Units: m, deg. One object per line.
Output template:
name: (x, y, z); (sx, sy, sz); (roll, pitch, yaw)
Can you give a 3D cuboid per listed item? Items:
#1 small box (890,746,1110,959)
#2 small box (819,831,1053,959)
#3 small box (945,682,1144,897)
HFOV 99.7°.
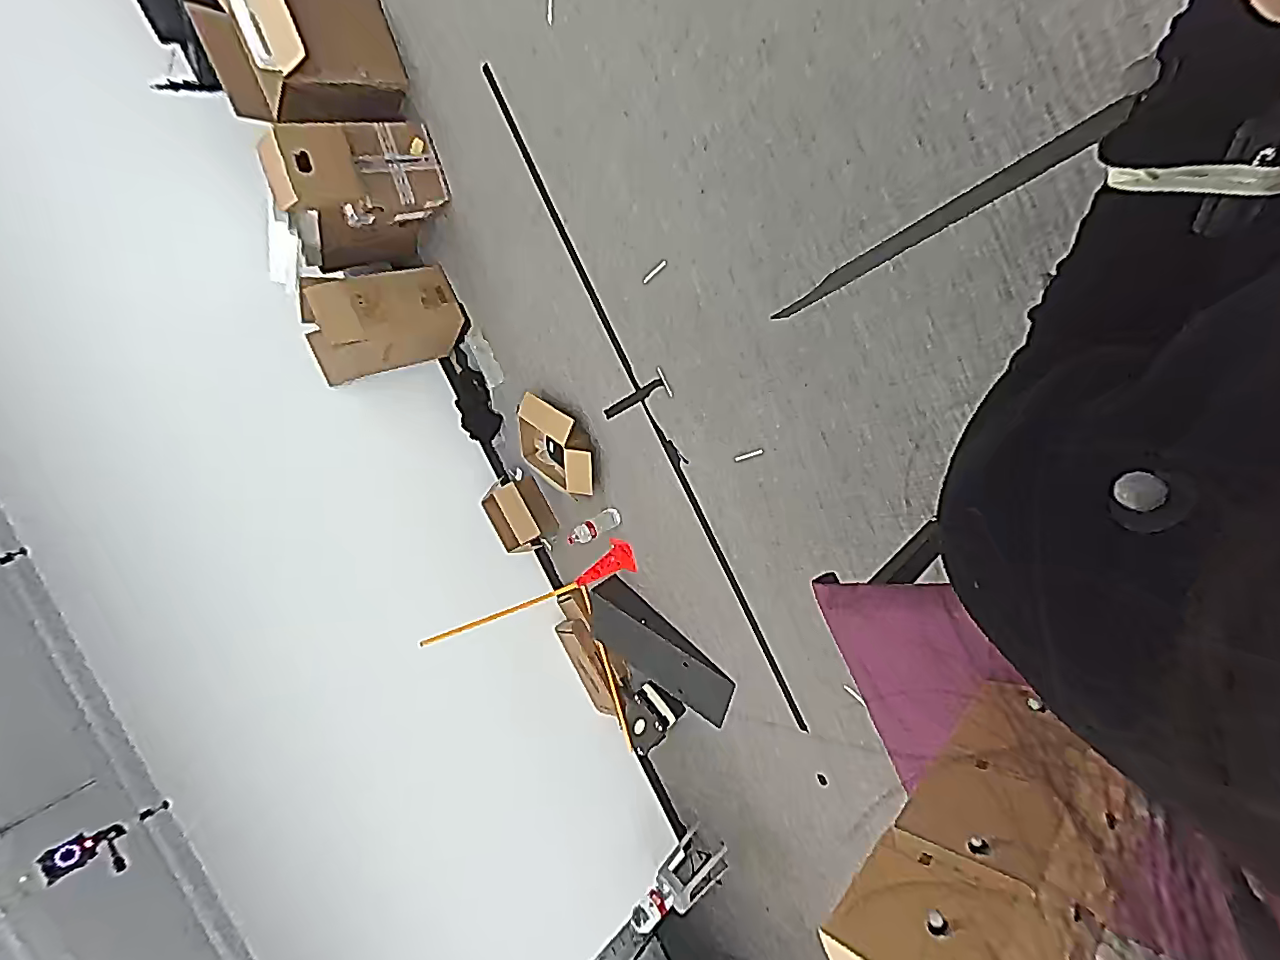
small box: (0.460, 0.486, 0.690); (0.168, 0.176, 0.179); (-11, 105, 55)
small box: (0.336, 0.543, 0.600); (0.168, 0.176, 0.179); (-12, 104, 55)
small box: (0.584, 0.426, 0.779); (0.168, 0.176, 0.179); (-15, 100, 56)
